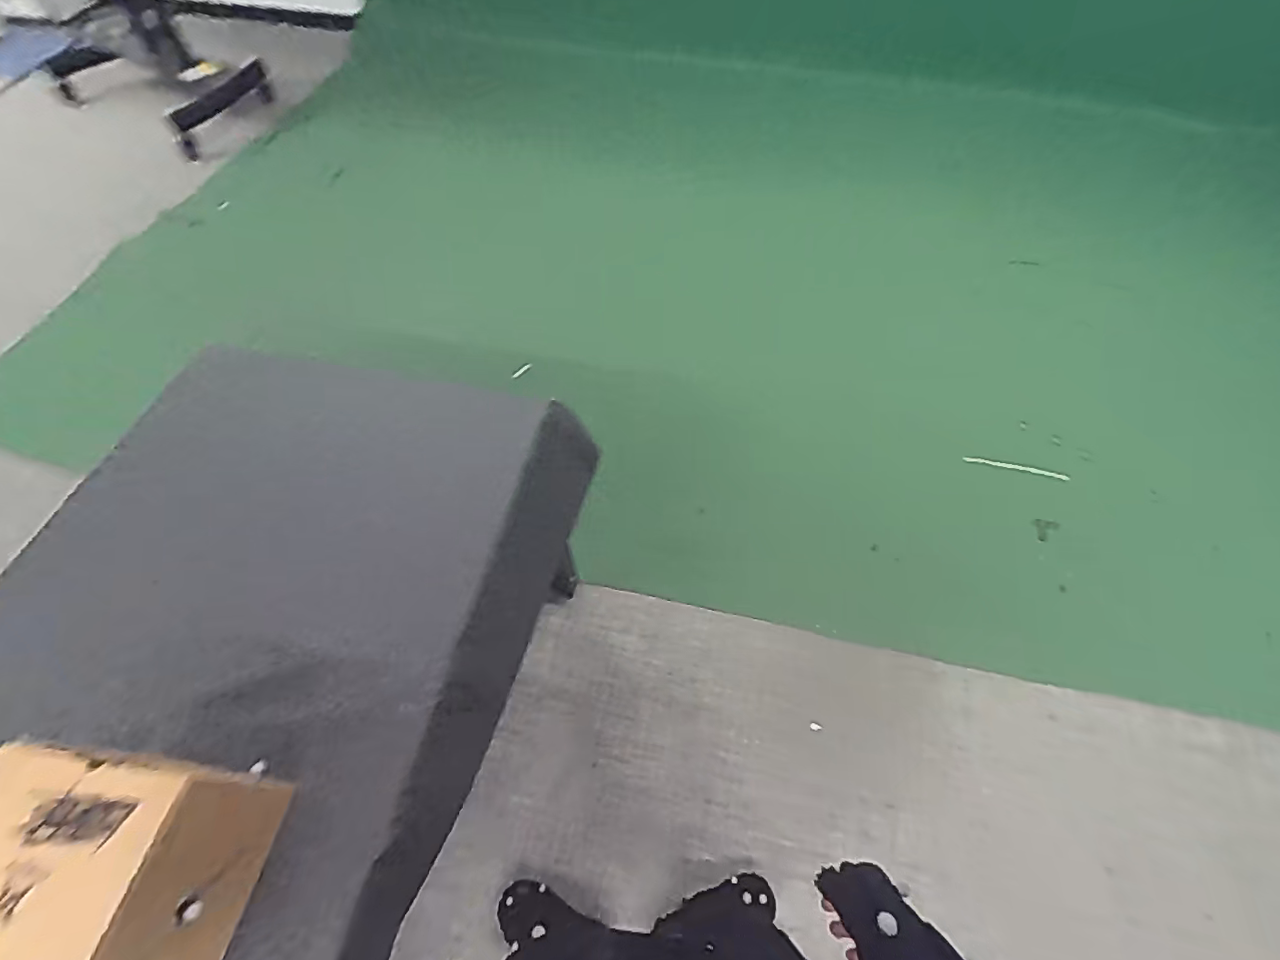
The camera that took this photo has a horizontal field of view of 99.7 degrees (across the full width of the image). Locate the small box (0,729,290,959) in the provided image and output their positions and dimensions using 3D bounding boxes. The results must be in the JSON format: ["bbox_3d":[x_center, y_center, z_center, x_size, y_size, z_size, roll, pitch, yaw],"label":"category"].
[{"bbox_3d":[-0.458,0.339,0.483,0.168,0.176,0.179,8,60,4],"label":"small box"}]
